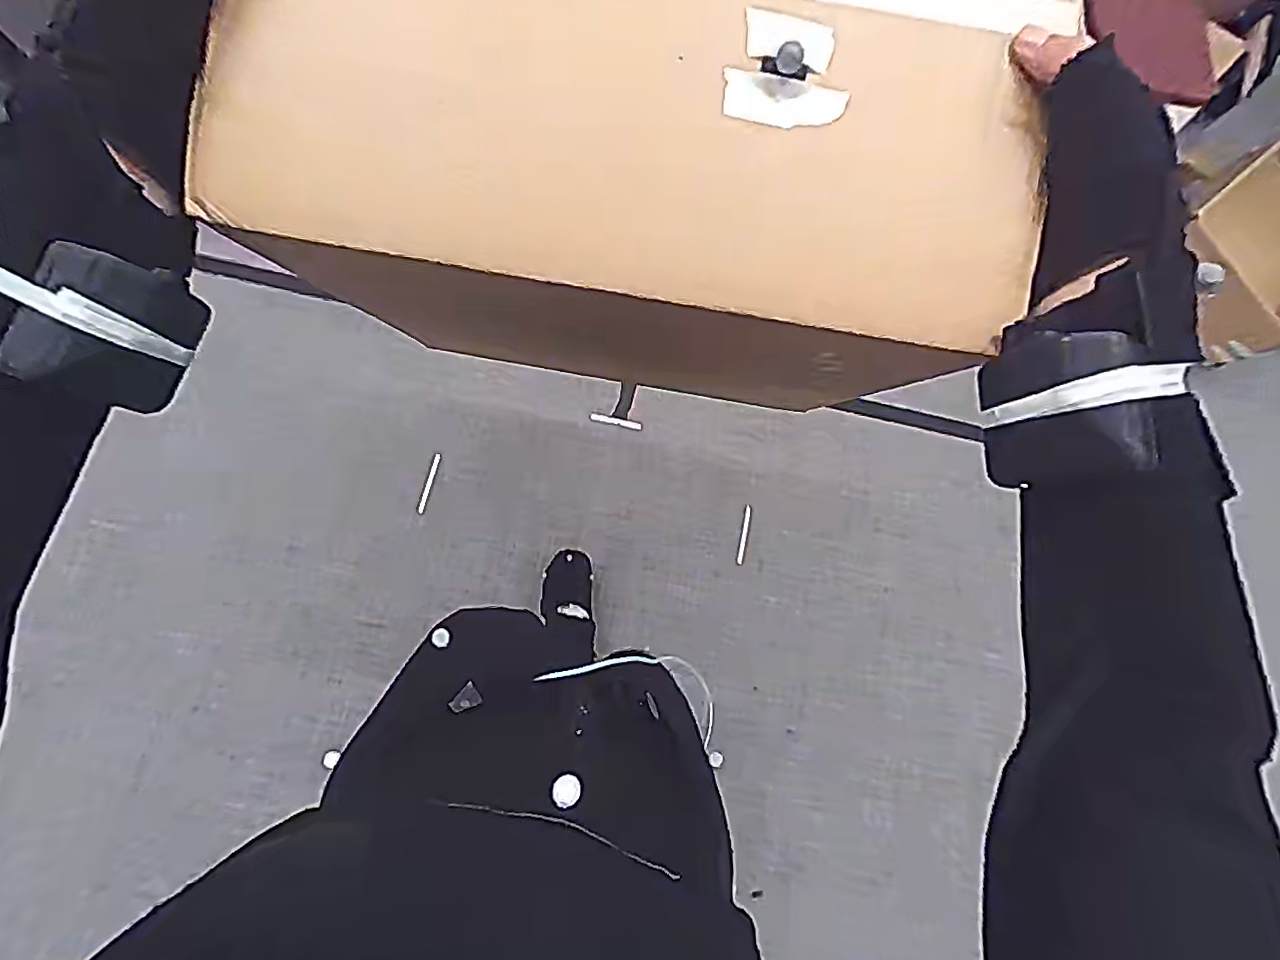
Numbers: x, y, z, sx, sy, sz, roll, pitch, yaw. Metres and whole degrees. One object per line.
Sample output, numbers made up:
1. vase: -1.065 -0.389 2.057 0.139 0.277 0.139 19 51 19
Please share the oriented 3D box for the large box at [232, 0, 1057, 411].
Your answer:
1. large box: 0.005 -0.245 0.422 0.408 0.320 0.320 9 93 -2
